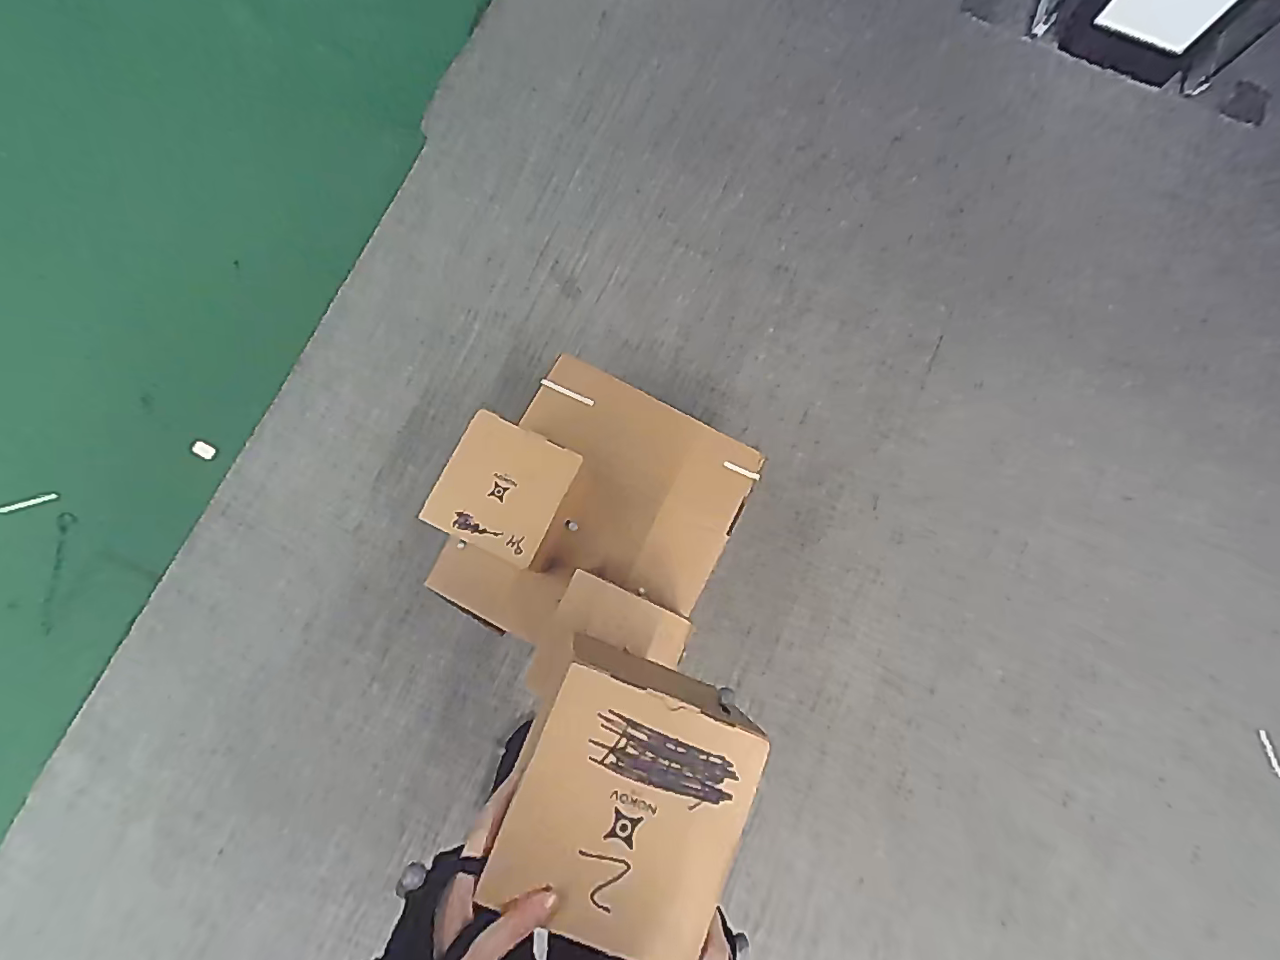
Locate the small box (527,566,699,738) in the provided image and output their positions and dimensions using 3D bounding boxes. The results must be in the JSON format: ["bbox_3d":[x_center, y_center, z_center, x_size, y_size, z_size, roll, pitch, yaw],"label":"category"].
[{"bbox_3d":[-0.036,0.231,0.775,0.179,0.176,0.168,25,80,2],"label":"small box"}]

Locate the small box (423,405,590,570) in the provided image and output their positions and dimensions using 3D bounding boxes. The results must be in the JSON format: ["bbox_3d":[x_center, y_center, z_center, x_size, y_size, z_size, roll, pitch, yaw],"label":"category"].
[{"bbox_3d":[-0.184,0.021,0.806,0.168,0.176,0.179,26,79,3],"label":"small box"}]
